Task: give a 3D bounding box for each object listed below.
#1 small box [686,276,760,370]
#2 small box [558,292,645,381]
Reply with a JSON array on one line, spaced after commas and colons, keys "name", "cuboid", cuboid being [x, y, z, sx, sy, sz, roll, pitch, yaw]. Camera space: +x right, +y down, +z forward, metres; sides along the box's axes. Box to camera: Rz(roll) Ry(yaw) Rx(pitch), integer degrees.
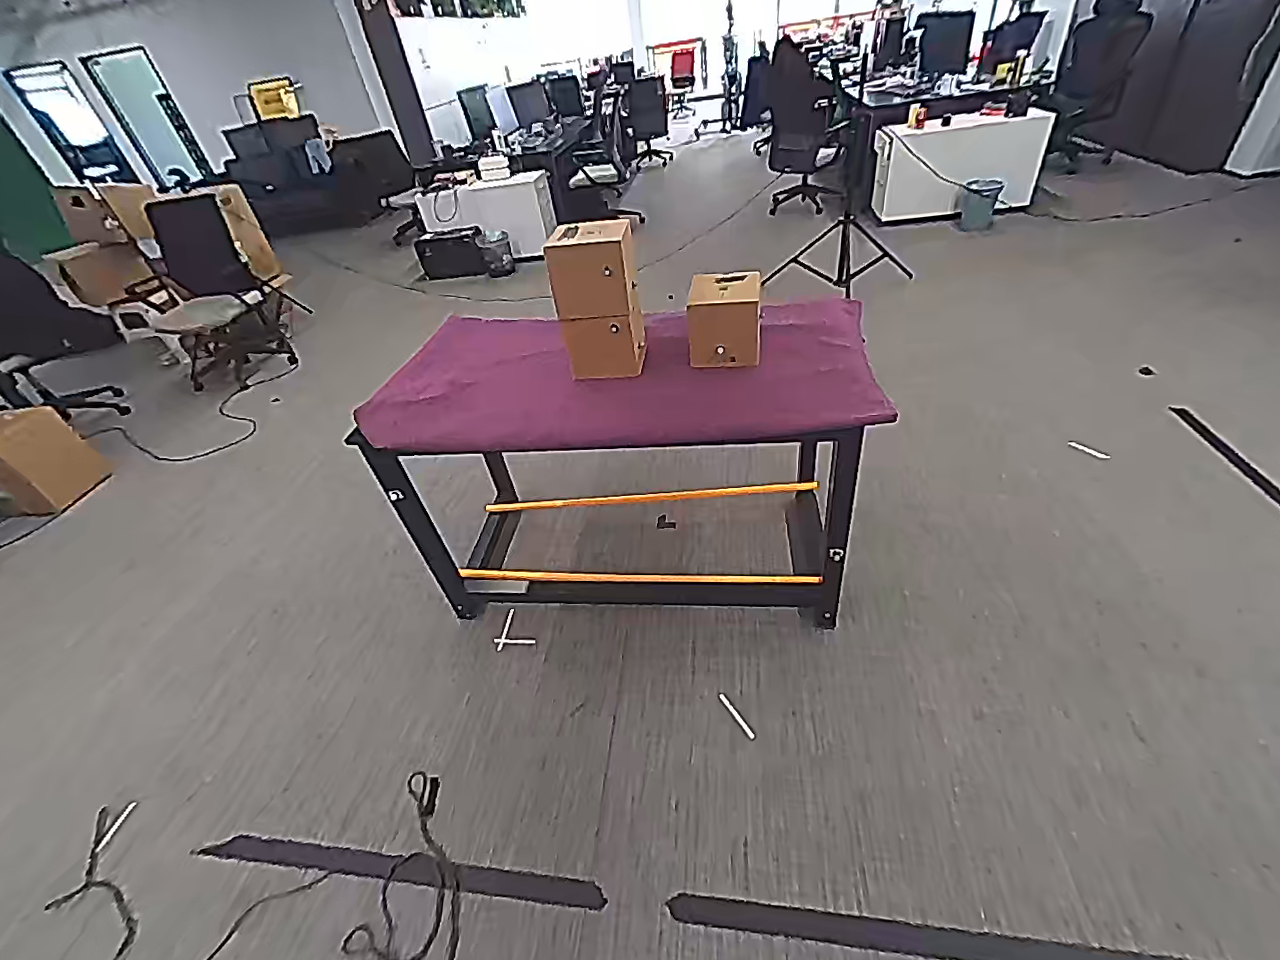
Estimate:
[{"name": "small box", "cuboid": [0.210, -0.388, 1.342, 0.168, 0.176, 0.179, 1, 41, 13]}, {"name": "small box", "cuboid": [-0.090, -0.363, 1.376, 0.179, 0.176, 0.168, -1, 40, 10]}]
